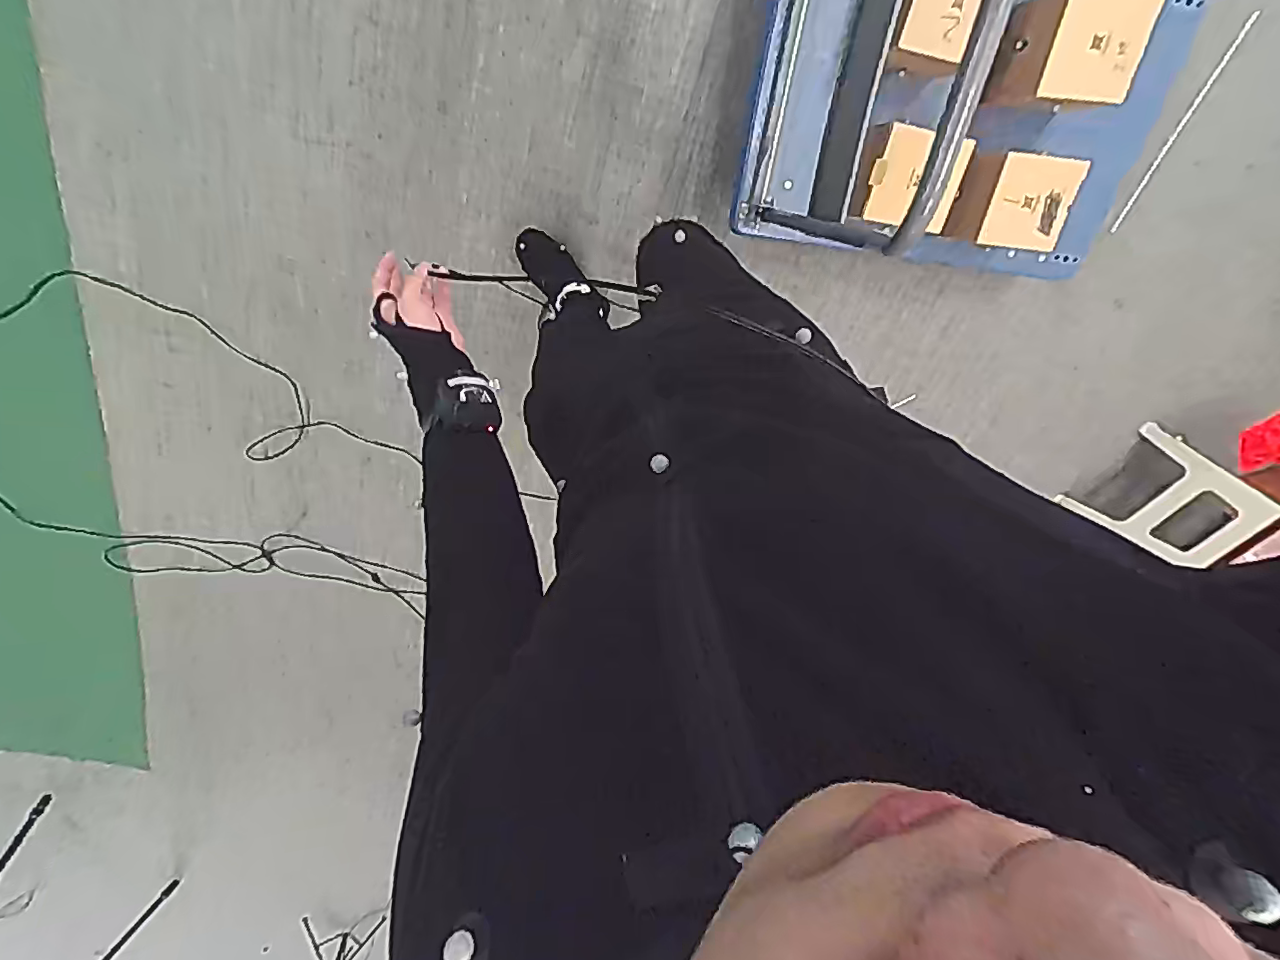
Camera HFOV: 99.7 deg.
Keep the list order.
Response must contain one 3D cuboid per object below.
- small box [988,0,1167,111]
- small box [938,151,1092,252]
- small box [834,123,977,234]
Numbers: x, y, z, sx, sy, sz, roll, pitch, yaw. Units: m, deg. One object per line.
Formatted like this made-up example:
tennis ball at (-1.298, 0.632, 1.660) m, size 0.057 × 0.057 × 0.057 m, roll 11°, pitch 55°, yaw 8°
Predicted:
small box at (0.812, -0.811, 1.025) m, size 0.179 × 0.176 × 0.168 m, roll 1°, pitch 120°, yaw -5°
small box at (0.780, -0.591, 1.147) m, size 0.179 × 0.176 × 0.168 m, roll 4°, pitch 118°, yaw -6°
small box at (0.534, -0.618, 1.114) m, size 0.179 × 0.176 × 0.168 m, roll 7°, pitch 118°, yaw -7°
